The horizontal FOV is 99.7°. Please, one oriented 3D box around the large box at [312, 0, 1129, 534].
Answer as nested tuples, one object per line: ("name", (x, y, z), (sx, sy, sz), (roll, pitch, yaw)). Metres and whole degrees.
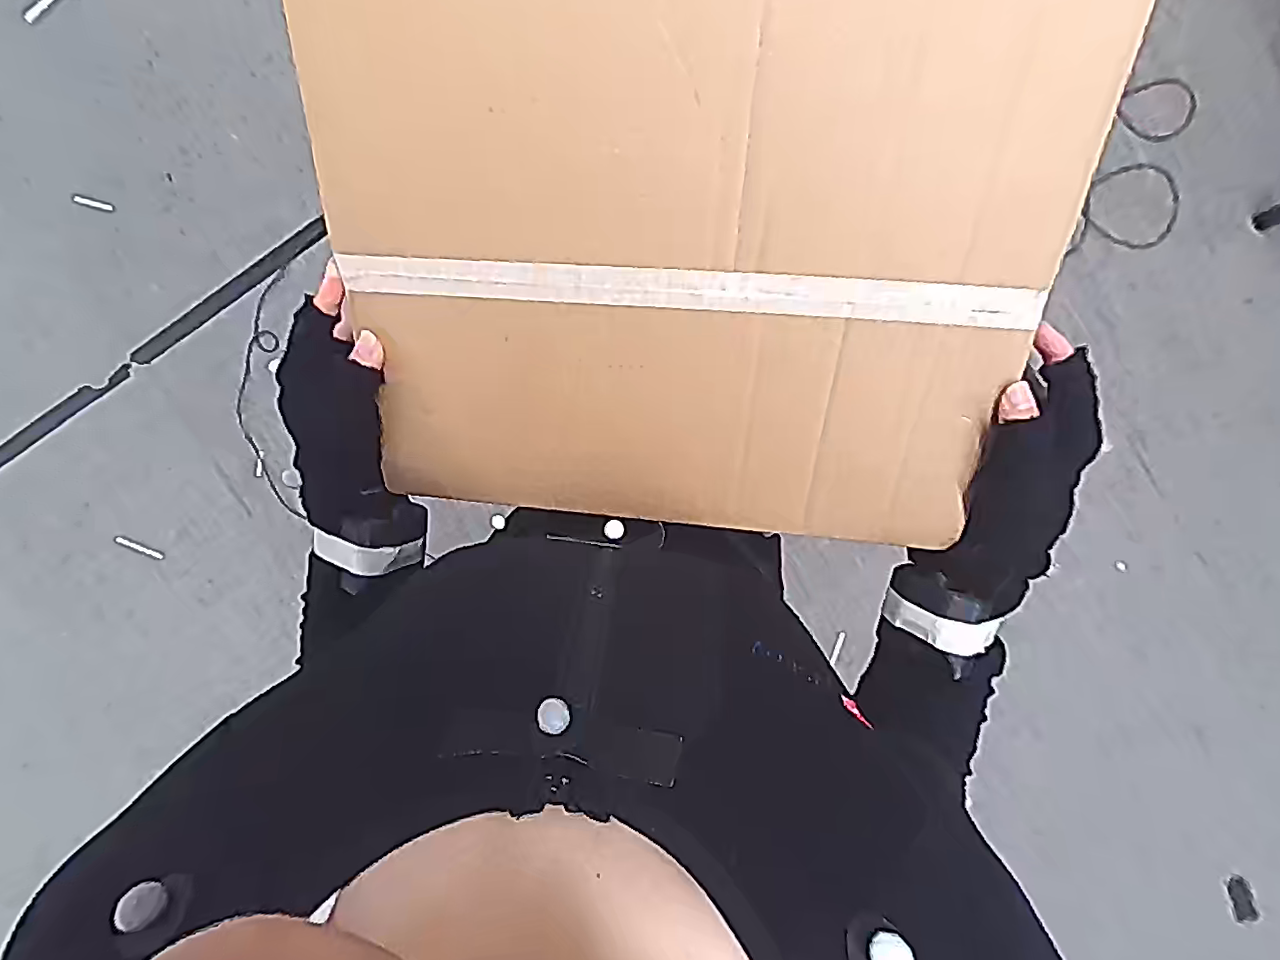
("large box", (0.038, -0.179, 0.455), (0.408, 0.320, 0.320), (5, 118, 6))
